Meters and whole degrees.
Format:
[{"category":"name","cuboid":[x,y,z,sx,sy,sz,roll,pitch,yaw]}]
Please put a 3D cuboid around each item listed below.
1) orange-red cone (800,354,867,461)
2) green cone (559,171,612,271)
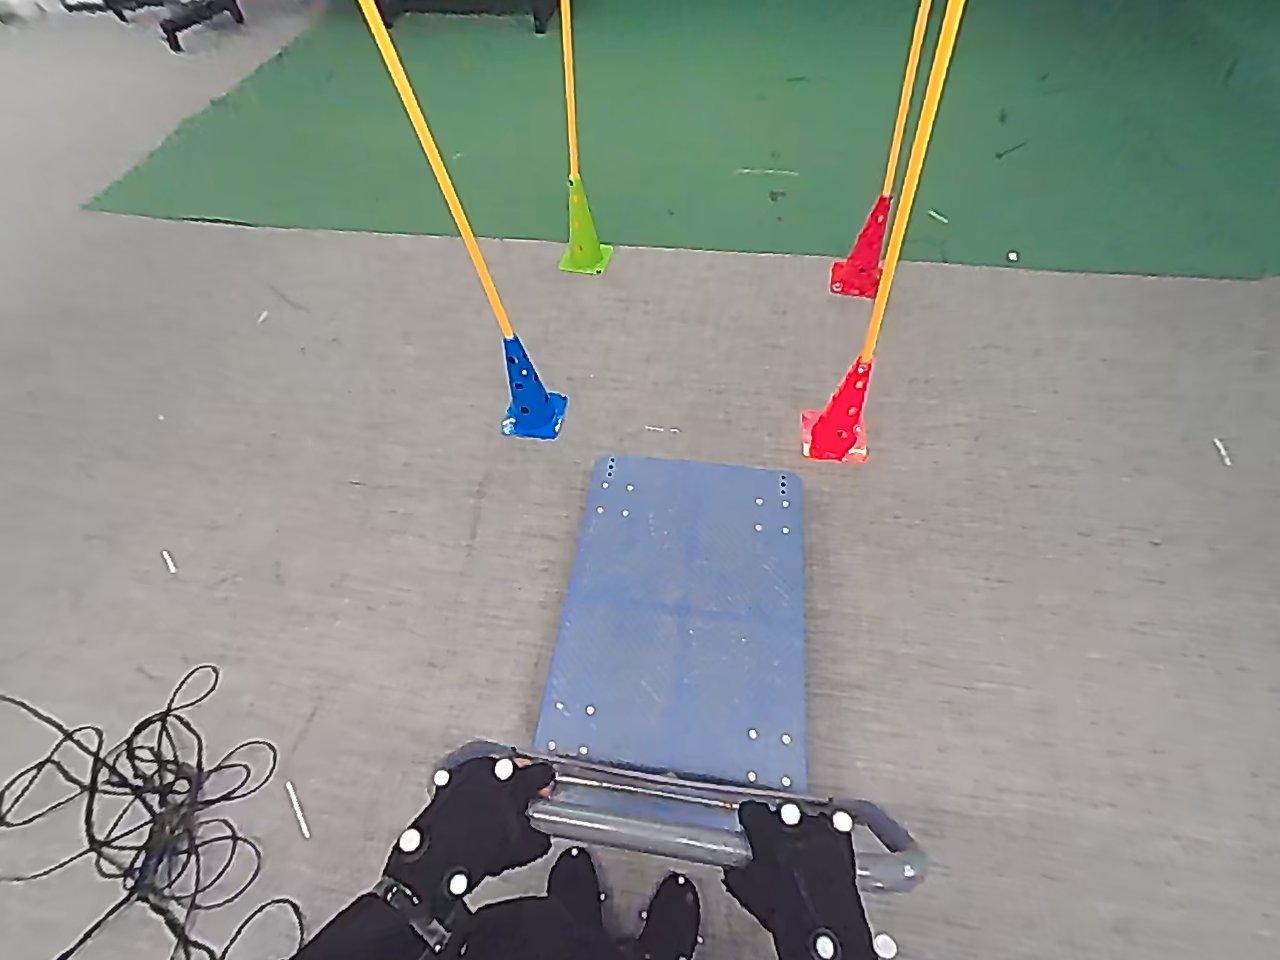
[{"category":"orange-red cone","cuboid":[0.621,-0.241,1.644,0.199,0.360,0.198,5,57,8]},{"category":"green cone","cuboid":[-0.243,-1.068,2.201,0.202,0.368,0.200,10,58,10]}]
